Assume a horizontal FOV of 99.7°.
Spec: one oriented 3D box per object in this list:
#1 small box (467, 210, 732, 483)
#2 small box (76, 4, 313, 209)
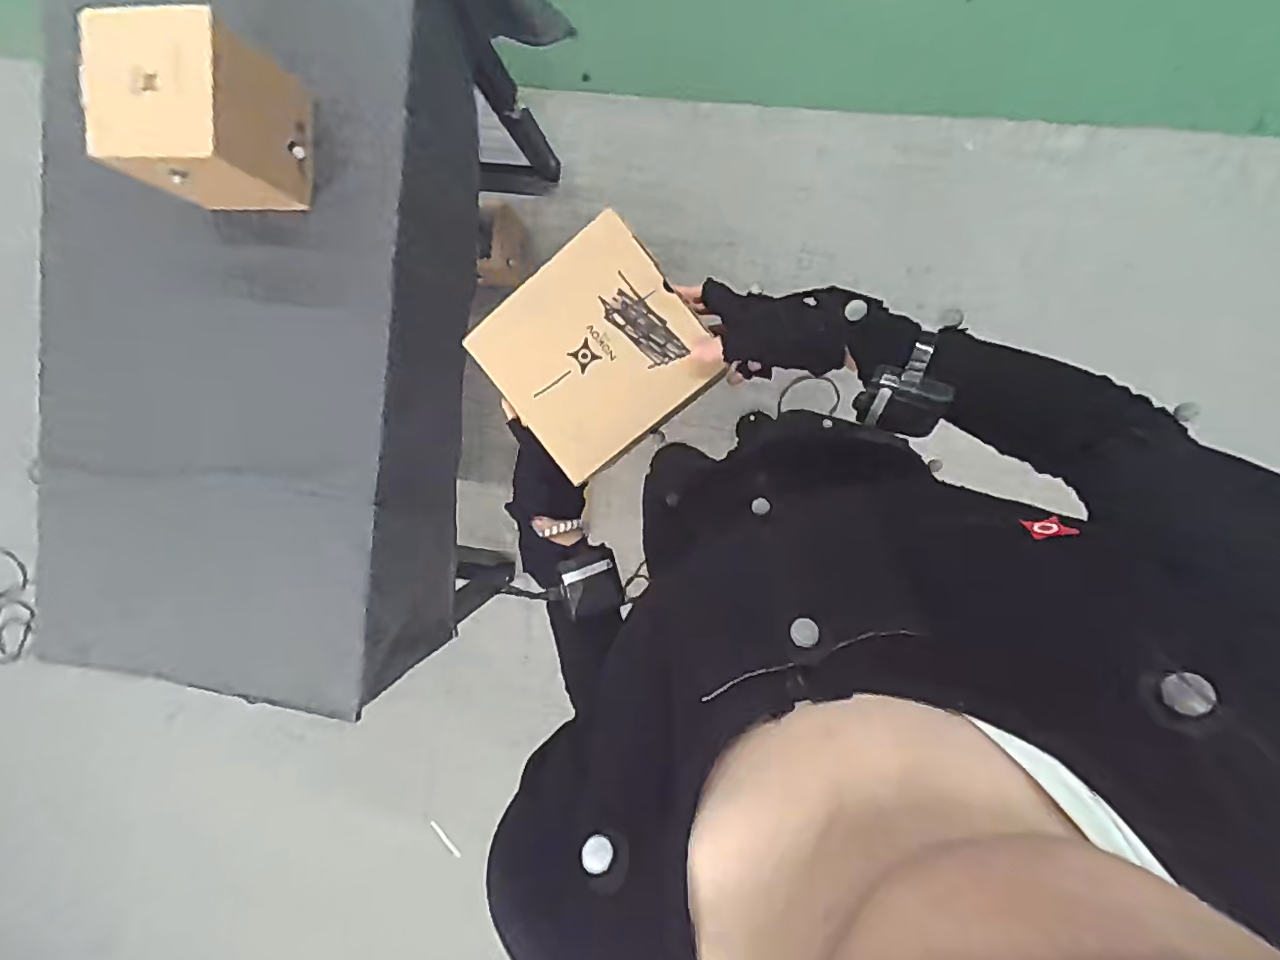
[{"bbox_3d":[-0.029,-0.121,0.539,0.179,0.176,0.168,-36,92,11],"label":"small box"},{"bbox_3d":[-0.569,-0.472,0.708,0.179,0.176,0.168,6,98,7],"label":"small box"}]
